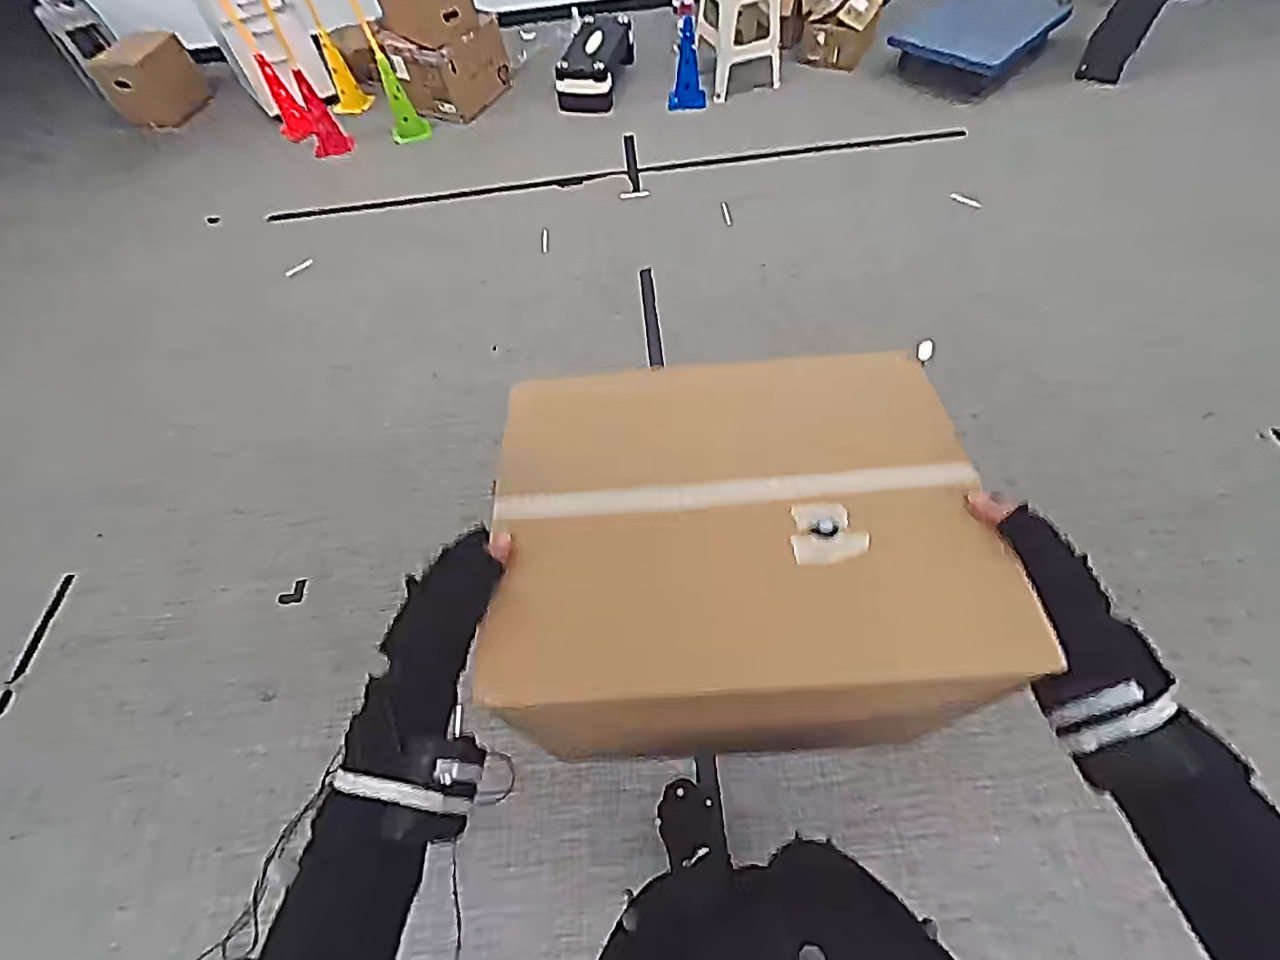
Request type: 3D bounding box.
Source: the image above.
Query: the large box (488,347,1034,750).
[{"bbox_3d":[0.085,0.090,0.592,0.408,0.320,0.320,-4,56,2],"label":"large box"}]
